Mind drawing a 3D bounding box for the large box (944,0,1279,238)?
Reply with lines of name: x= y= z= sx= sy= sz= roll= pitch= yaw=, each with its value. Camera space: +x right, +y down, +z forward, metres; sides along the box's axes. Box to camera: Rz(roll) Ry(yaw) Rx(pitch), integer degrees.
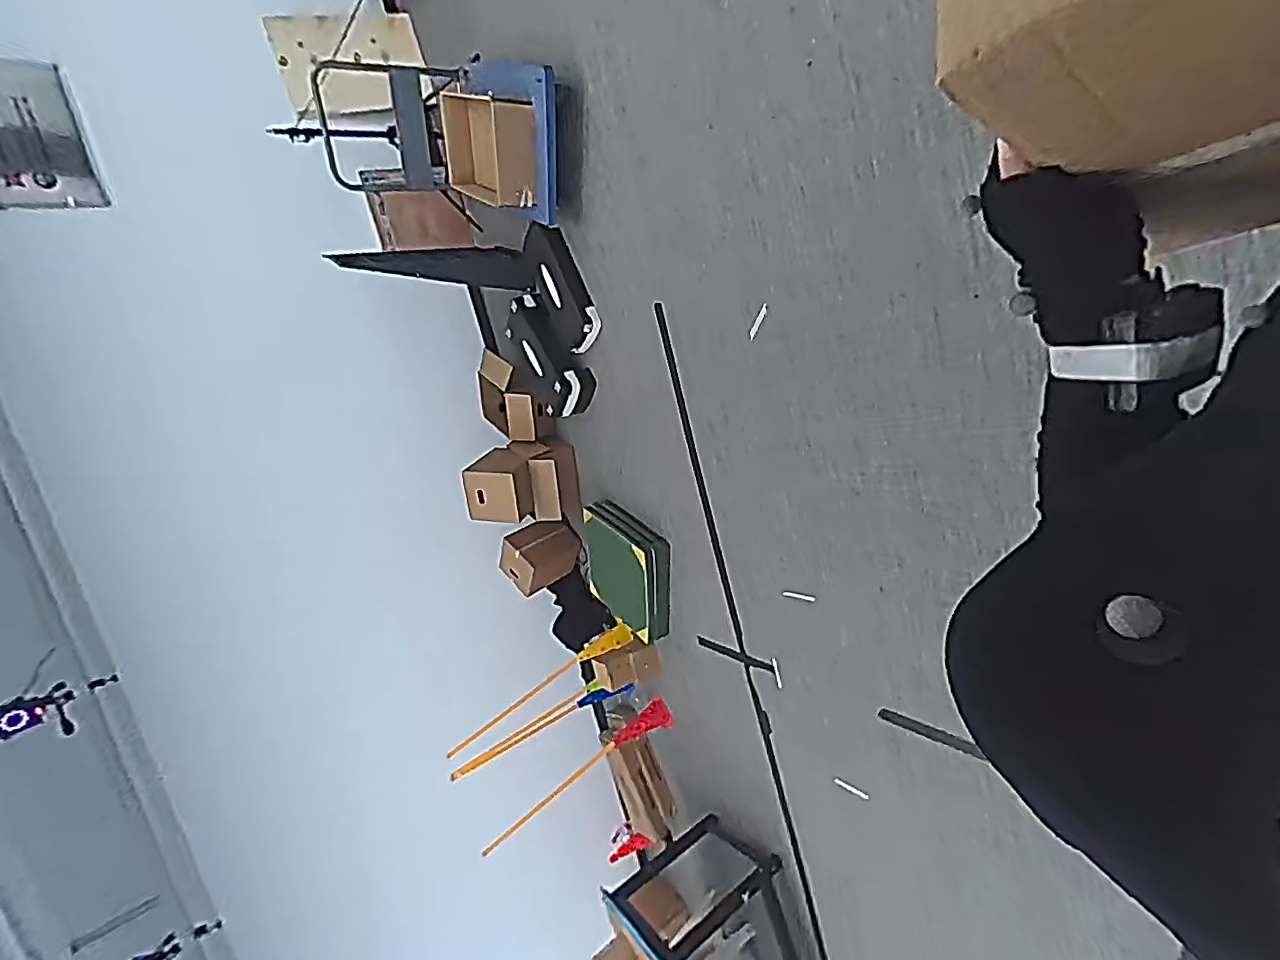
large box: x=0.361 y=-0.323 z=0.146 sx=0.408 sy=0.320 sz=0.320 roll=2 pitch=93 yaw=56
